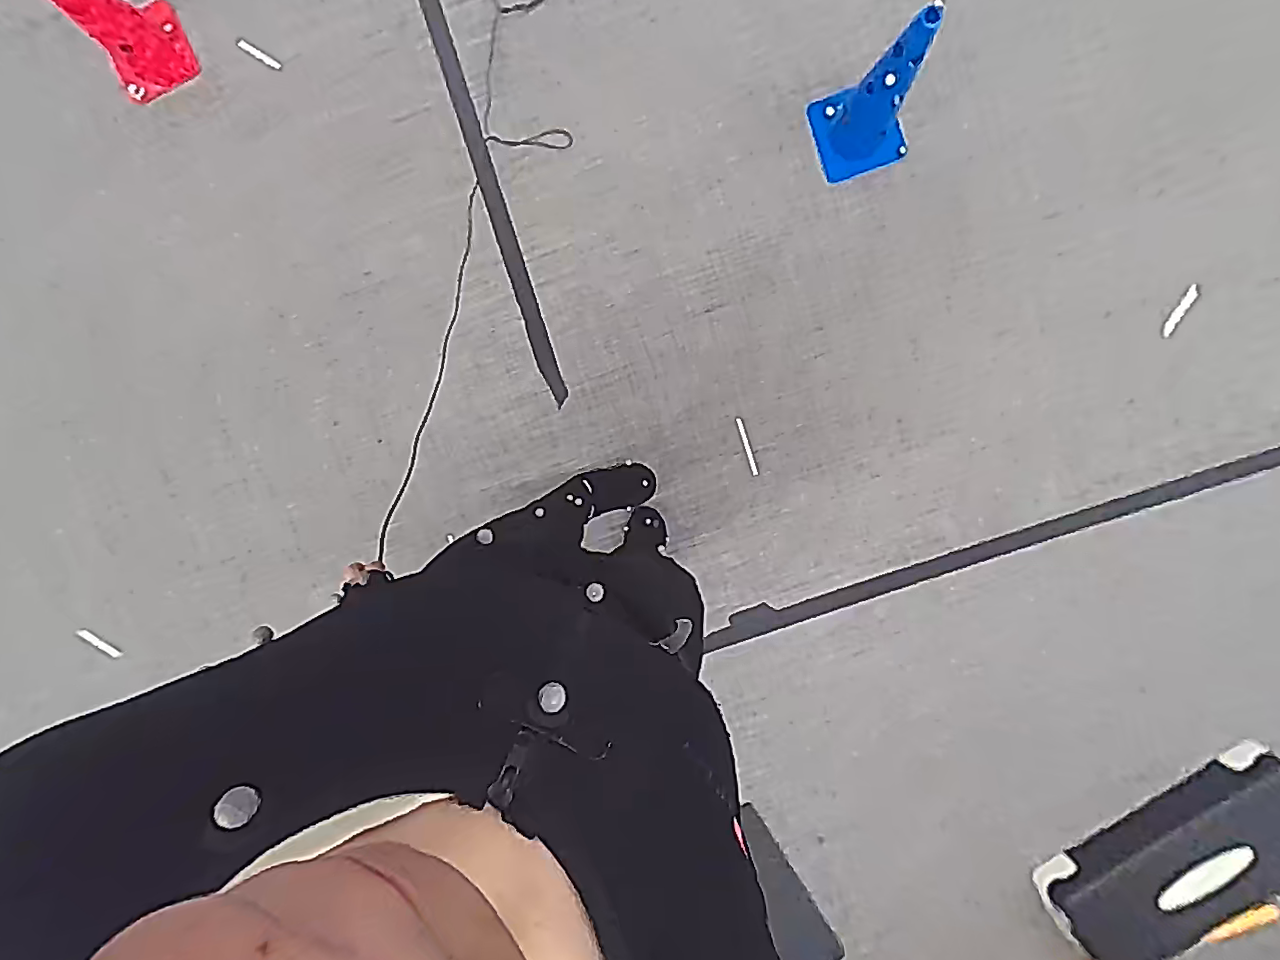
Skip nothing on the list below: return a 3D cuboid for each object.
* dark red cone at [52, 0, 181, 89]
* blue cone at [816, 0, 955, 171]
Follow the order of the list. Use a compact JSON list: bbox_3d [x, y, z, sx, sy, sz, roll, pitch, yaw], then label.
[{"bbox_3d":[-1.224,-1.057,1.138,0.201,0.394,0.202,-26,92,2],"label":"dark red cone"},{"bbox_3d":[0.522,-0.833,1.121,0.192,0.380,0.193,-17,93,2],"label":"blue cone"}]
